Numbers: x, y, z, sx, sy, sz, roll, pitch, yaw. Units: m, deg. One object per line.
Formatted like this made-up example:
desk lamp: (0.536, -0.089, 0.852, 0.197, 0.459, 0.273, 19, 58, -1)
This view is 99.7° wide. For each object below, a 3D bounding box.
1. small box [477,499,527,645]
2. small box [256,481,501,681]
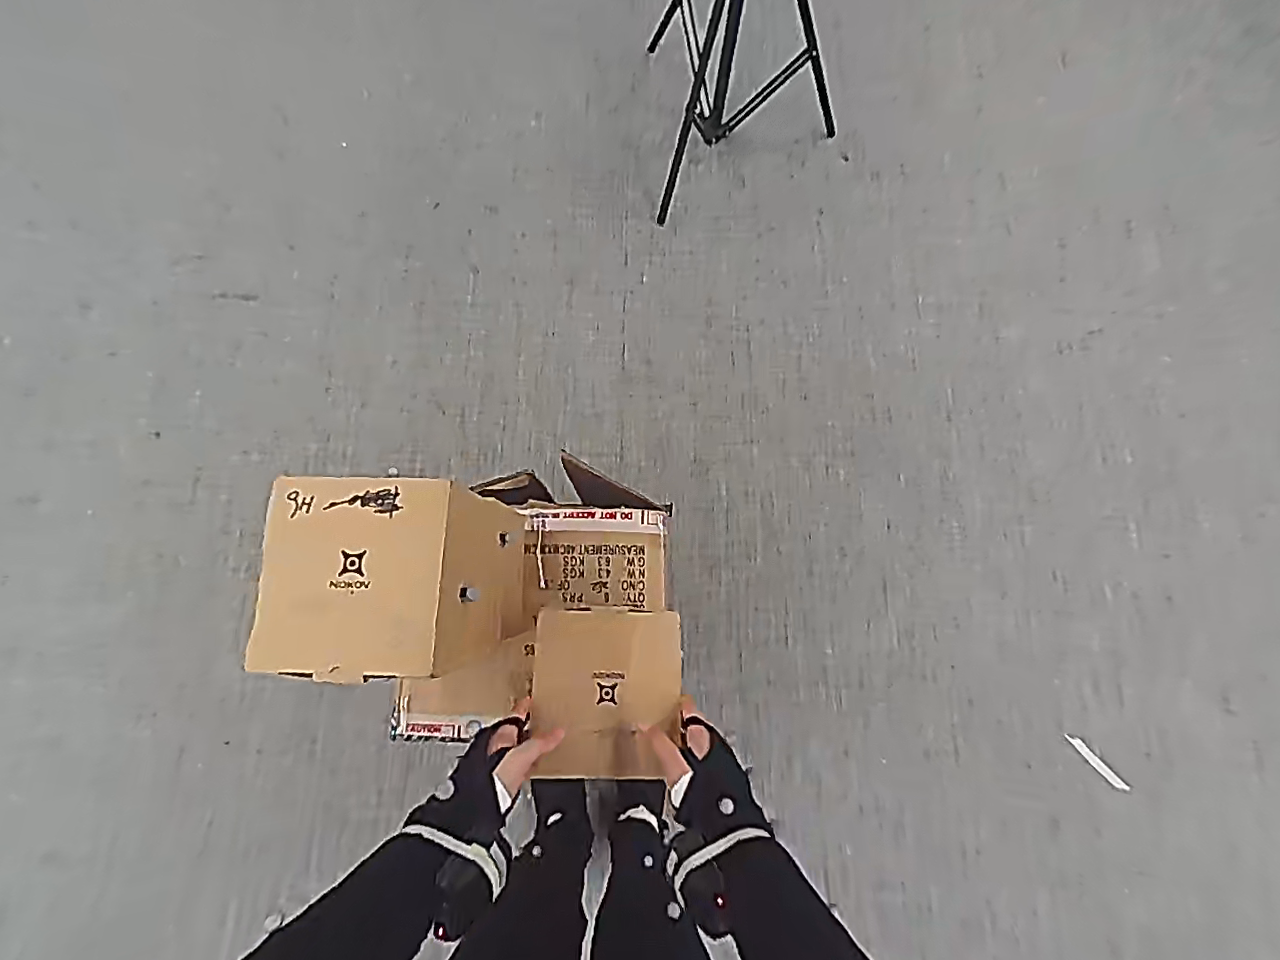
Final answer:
small box: (-0.252, 0.125, 0.724, 0.168, 0.176, 0.179, -1, 79, 1)
small box: (-0.250, 0.101, 0.561, 0.168, 0.176, 0.179, 0, 79, 1)
